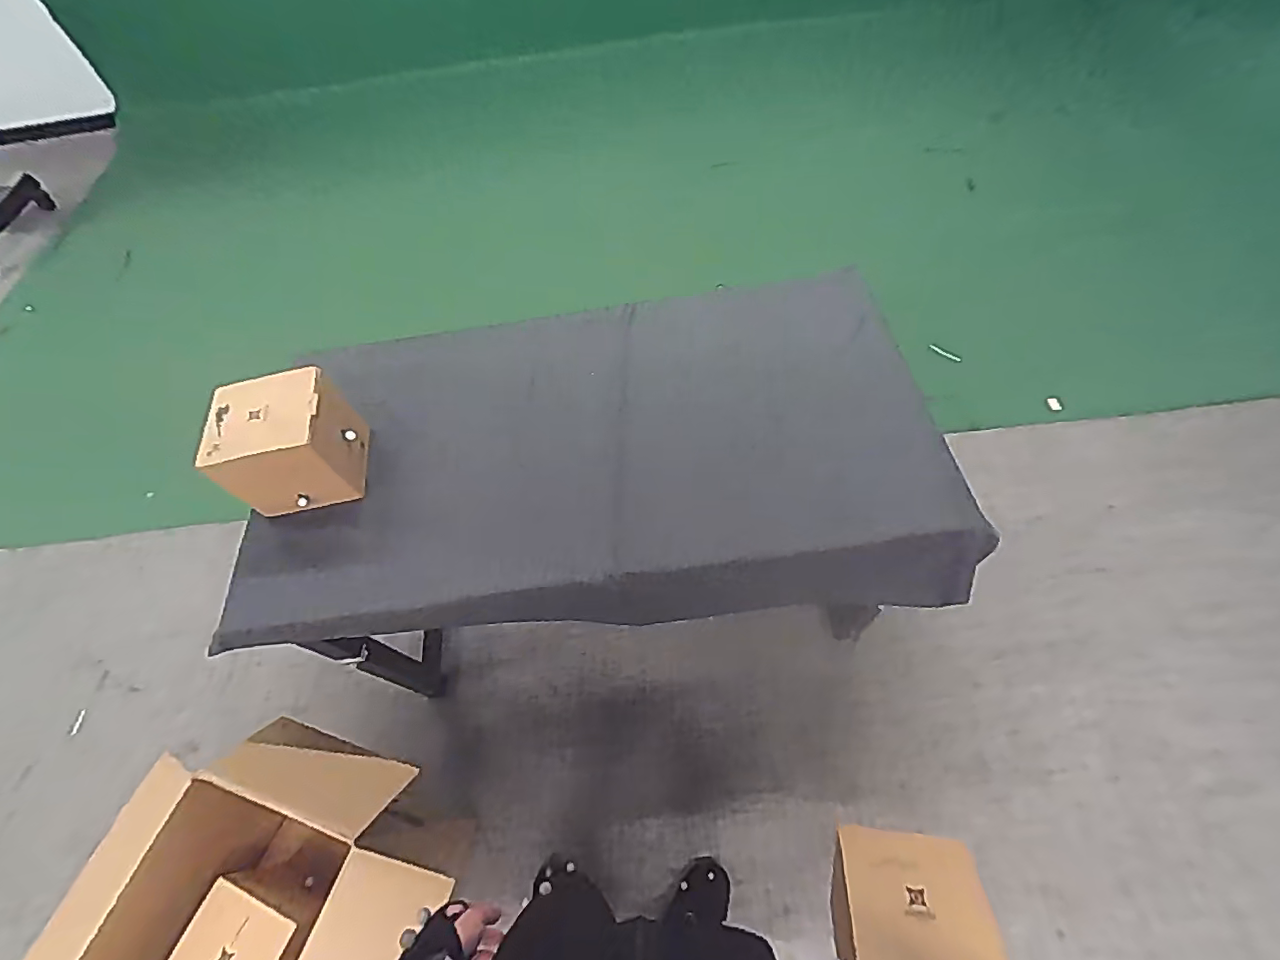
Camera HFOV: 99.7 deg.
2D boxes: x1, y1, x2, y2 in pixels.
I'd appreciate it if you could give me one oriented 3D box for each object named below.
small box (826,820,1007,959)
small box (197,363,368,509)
[{"bbox_3d":[0.334,0.576,0.680,0.168,0.176,0.179,2,22,11],"label":"small box"},{"bbox_3d":[-0.592,-0.070,0.926,0.179,0.176,0.168,-12,58,-2],"label":"small box"}]
